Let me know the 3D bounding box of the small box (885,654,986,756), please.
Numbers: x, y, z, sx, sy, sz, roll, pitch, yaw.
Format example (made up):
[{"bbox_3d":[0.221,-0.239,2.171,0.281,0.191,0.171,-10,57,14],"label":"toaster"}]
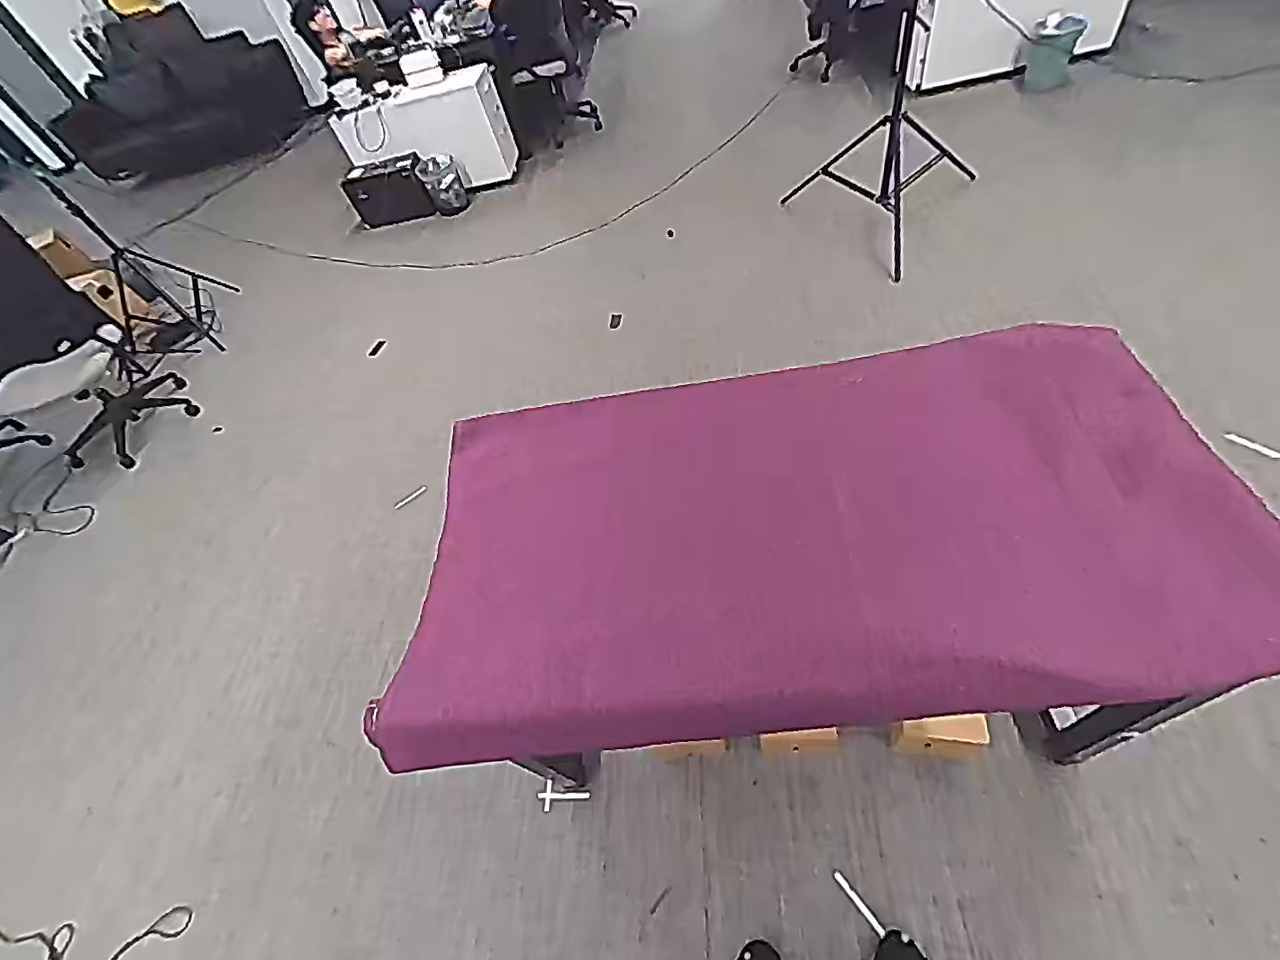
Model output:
[{"bbox_3d":[0.669,0.522,1.245,0.168,0.176,0.179,0,53,15],"label":"small box"}]

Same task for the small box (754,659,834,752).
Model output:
[{"bbox_3d":[0.367,0.547,1.302,0.168,0.176,0.179,-5,51,10],"label":"small box"}]
